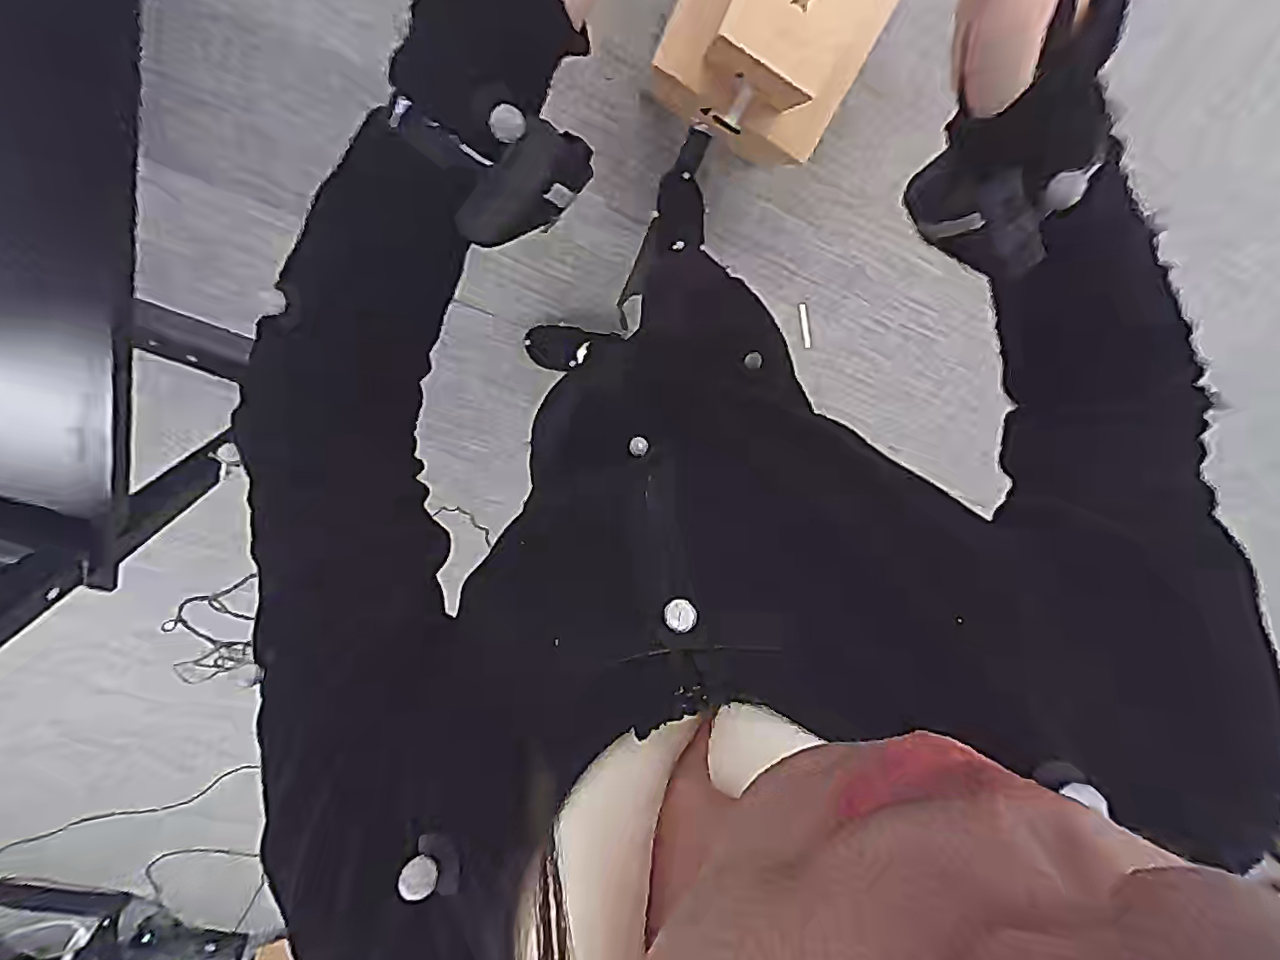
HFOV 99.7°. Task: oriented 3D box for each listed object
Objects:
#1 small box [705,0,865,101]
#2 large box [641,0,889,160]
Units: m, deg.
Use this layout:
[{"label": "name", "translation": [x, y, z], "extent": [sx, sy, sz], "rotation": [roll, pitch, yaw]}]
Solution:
[{"label": "small box", "translation": [0.209, -0.682, 0.771], "extent": [0.168, 0.176, 0.179], "rotation": [24, 116, -15]}, {"label": "large box", "translation": [0.229, -0.852, 0.959], "extent": [0.320, 0.320, 0.408], "rotation": [22, 115, -17]}]
